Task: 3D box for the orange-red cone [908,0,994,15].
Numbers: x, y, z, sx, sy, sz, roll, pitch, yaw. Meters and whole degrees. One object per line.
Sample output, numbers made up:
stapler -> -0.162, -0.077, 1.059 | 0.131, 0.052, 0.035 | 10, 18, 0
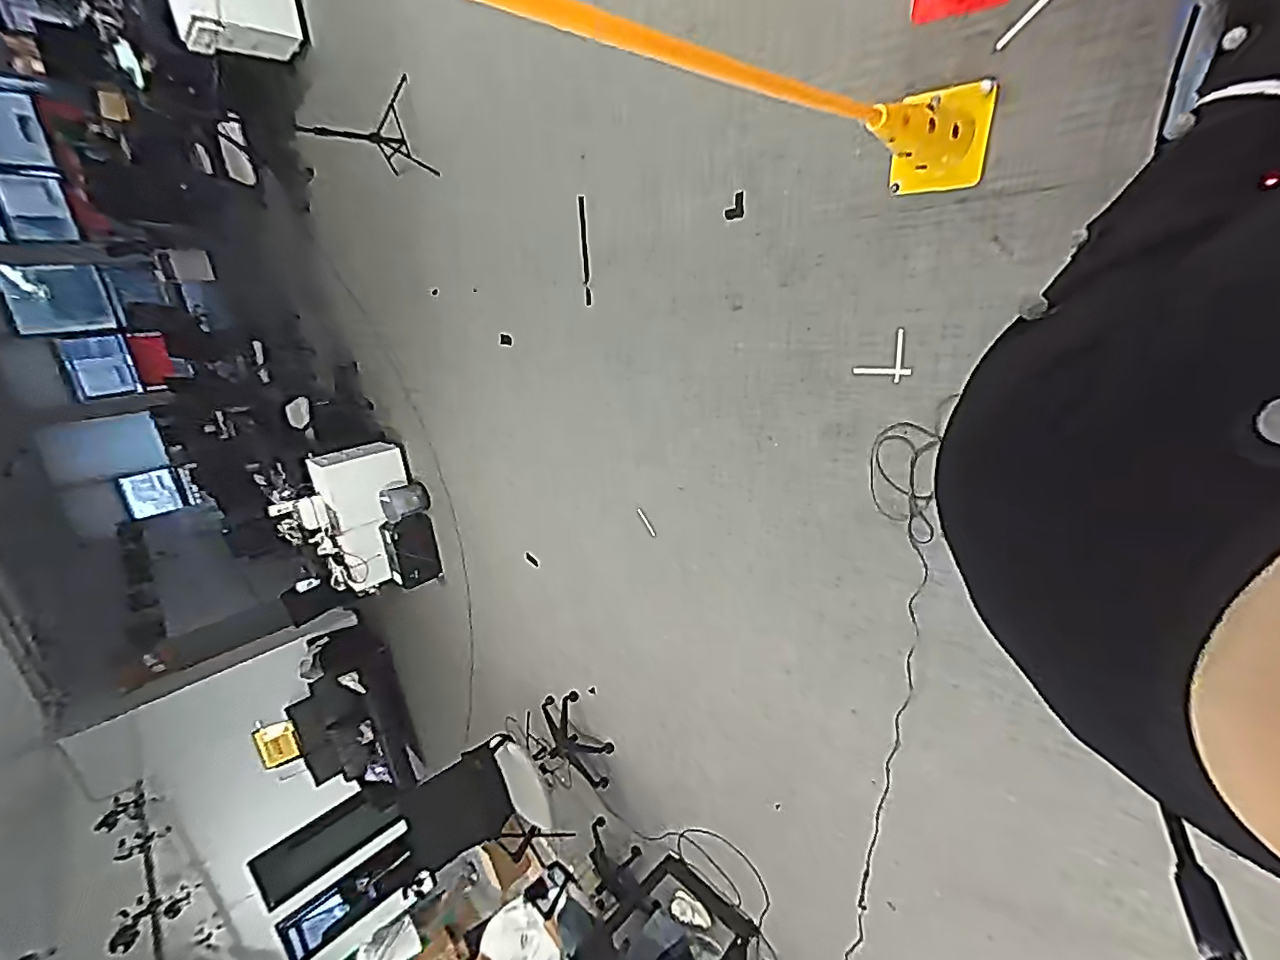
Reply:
orange-red cone -> 0.540, -1.027, 0.975 | 0.198, 0.360, 0.199 | 23, 122, 38
